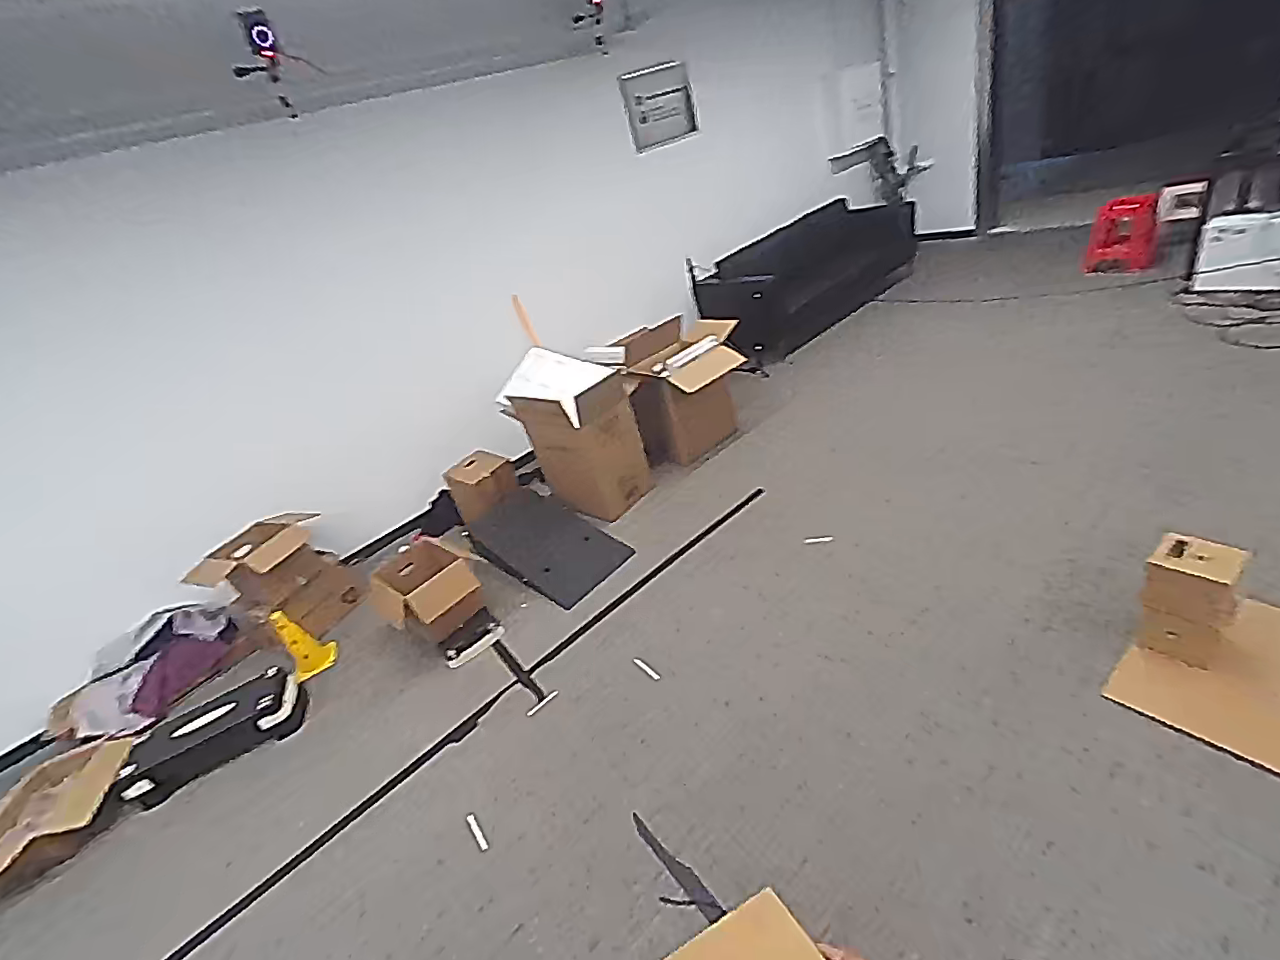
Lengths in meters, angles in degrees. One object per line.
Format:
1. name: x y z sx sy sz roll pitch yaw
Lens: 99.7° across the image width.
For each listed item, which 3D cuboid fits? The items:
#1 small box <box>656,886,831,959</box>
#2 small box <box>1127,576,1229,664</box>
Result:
1. small box: 0.127 0.569 0.528 0.179 0.176 0.168 -23 1 -16
2. small box: 1.637 0.430 1.652 0.168 0.176 0.179 -33 31 -25
